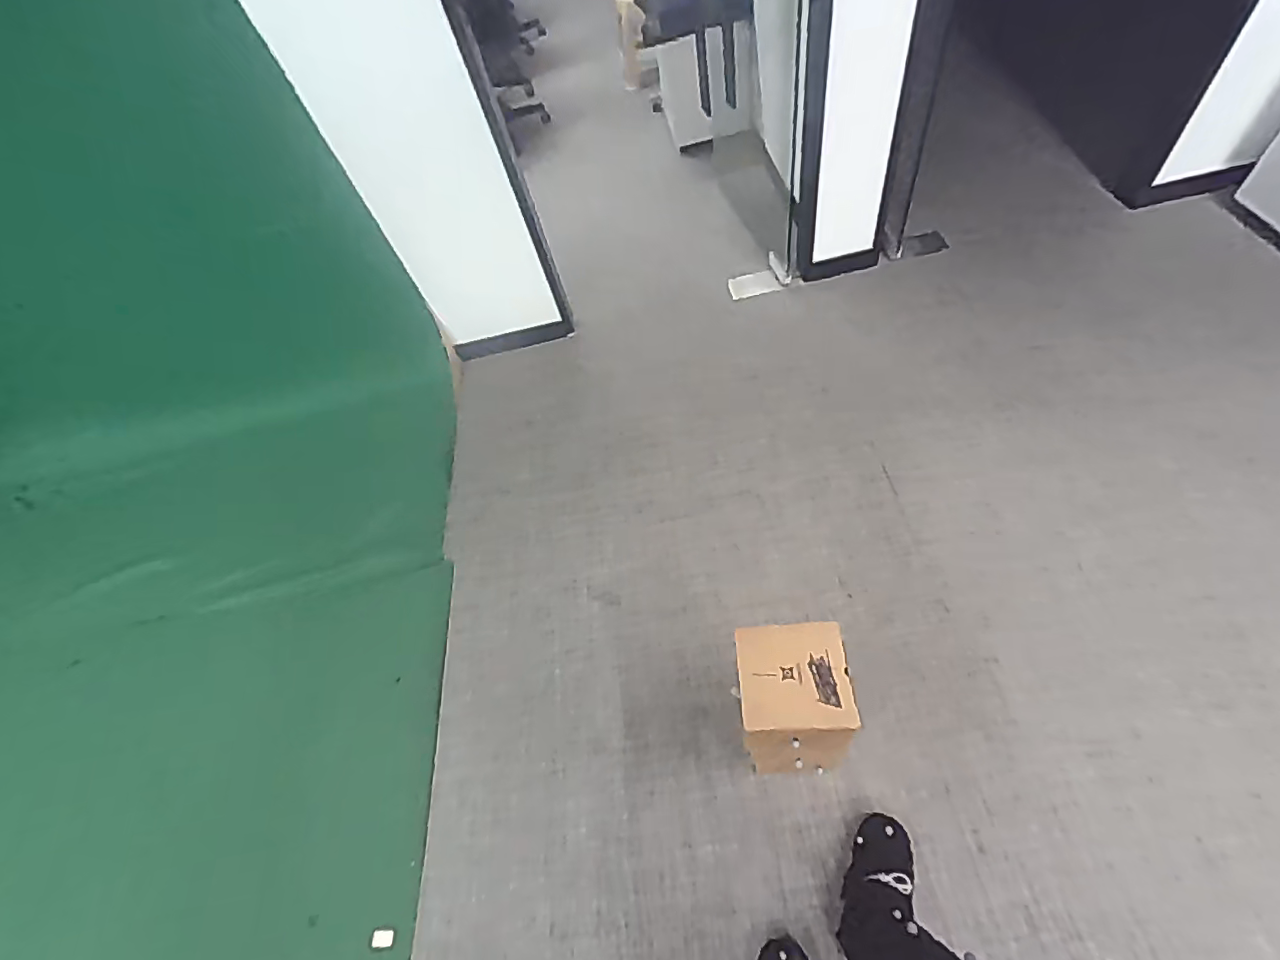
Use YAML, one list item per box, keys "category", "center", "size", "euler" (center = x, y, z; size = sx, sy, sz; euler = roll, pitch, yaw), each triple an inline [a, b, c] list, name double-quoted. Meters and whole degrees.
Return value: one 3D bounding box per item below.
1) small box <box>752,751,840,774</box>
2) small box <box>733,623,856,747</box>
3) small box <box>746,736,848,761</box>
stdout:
- category: "small box"
  center: [0.326, 0.544, 1.195]
  size: [0.179, 0.176, 0.168]
  euler: [-9, 54, 8]
- category: "small box"
  center: [0.258, 0.357, 0.934]
  size: [0.179, 0.176, 0.168]
  euler: [-6, 55, 11]
- category: "small box"
  center: [0.292, 0.450, 1.065]
  size: [0.179, 0.176, 0.168]
  euler: [-7, 54, 8]
